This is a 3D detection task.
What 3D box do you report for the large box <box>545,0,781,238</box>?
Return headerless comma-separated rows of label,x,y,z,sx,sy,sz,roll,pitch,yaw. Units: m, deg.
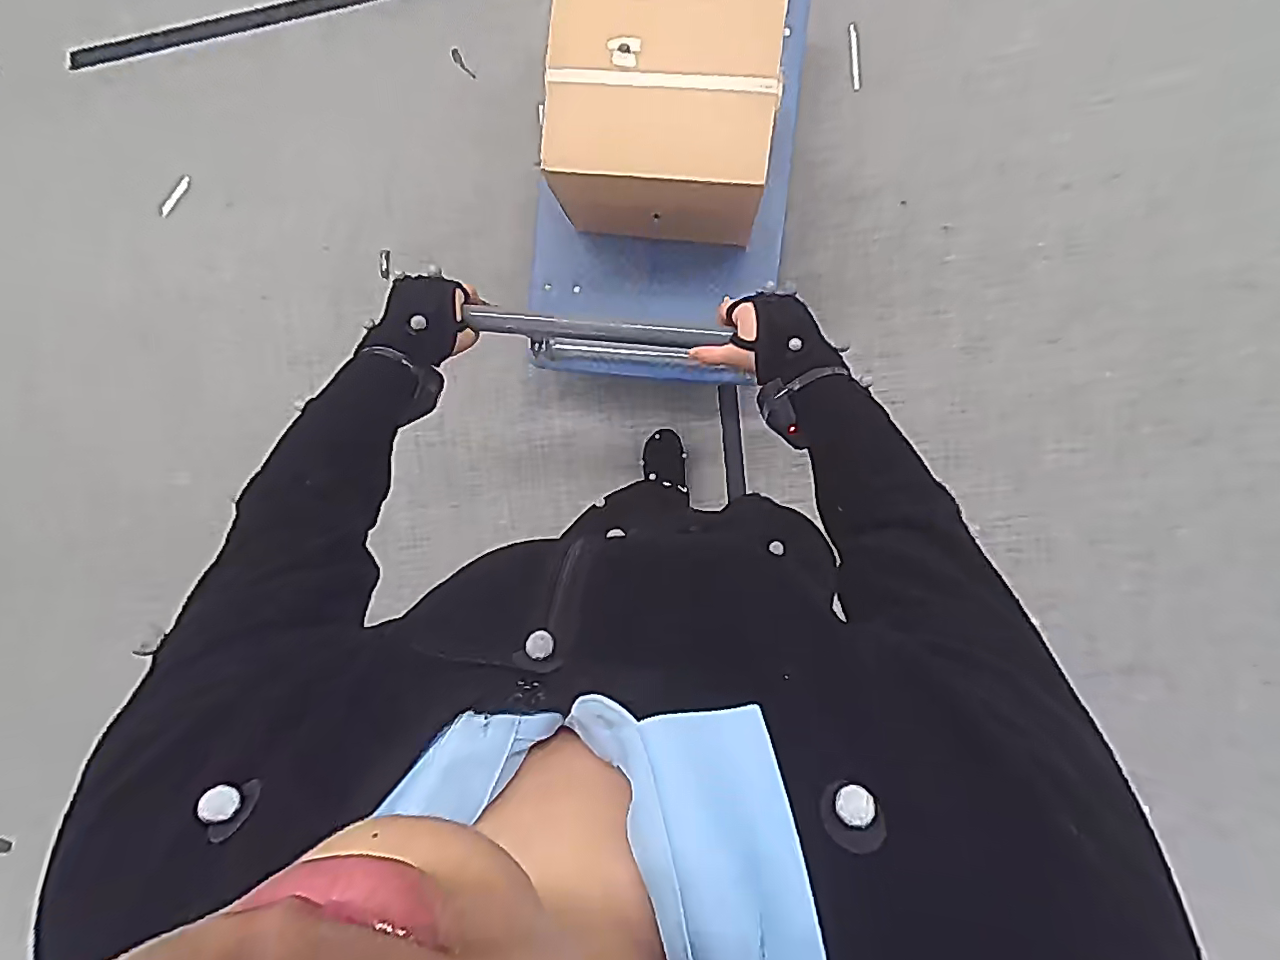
large box,0.051,-0.709,1.102,0.408,0.320,0.320,6,95,6
